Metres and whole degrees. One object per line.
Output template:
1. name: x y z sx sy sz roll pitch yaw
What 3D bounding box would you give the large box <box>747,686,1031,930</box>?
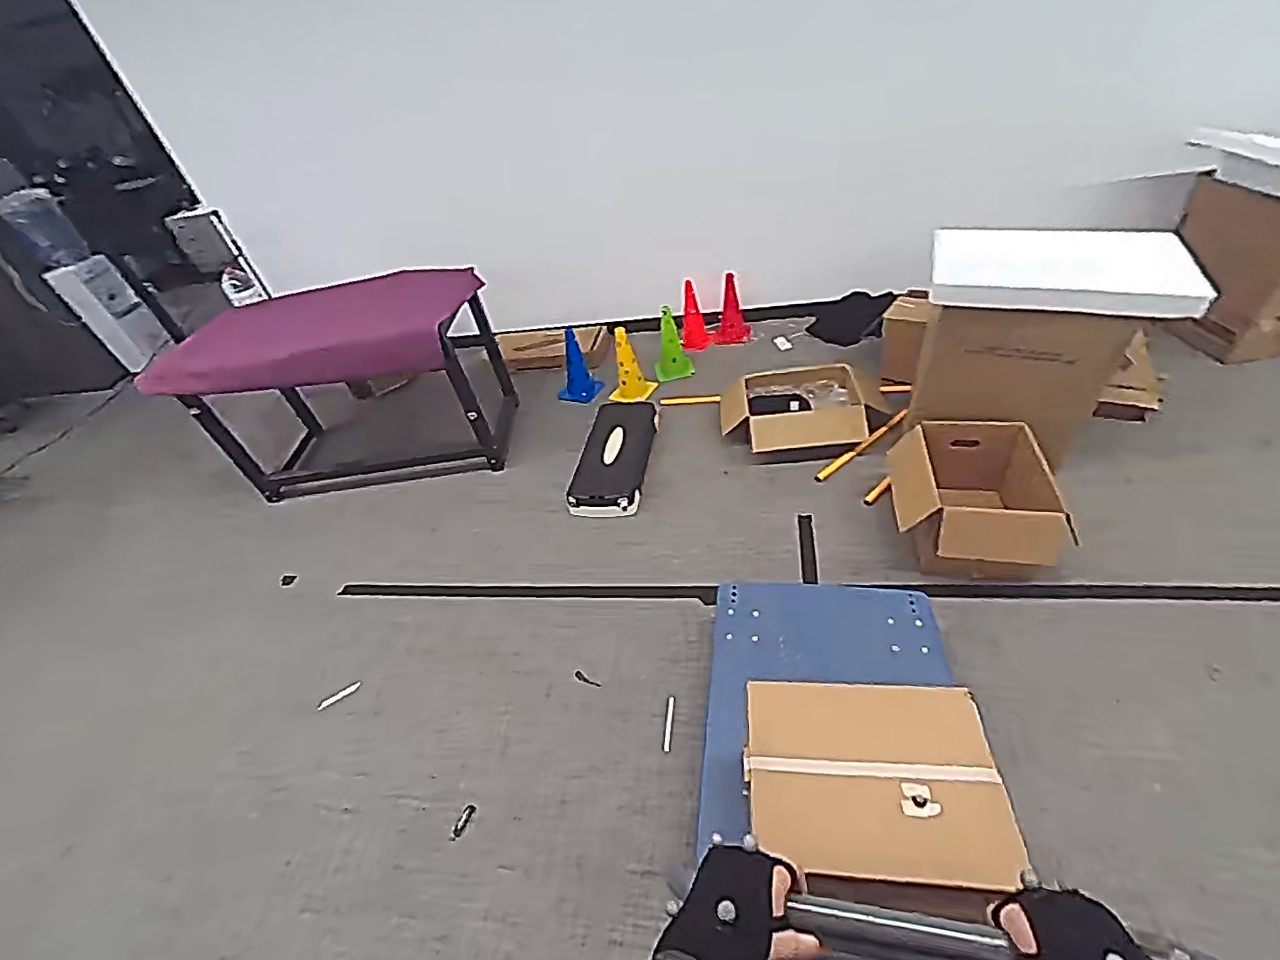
1. large box: 0.416 0.617 1.030 0.408 0.320 0.320 -2 43 10
